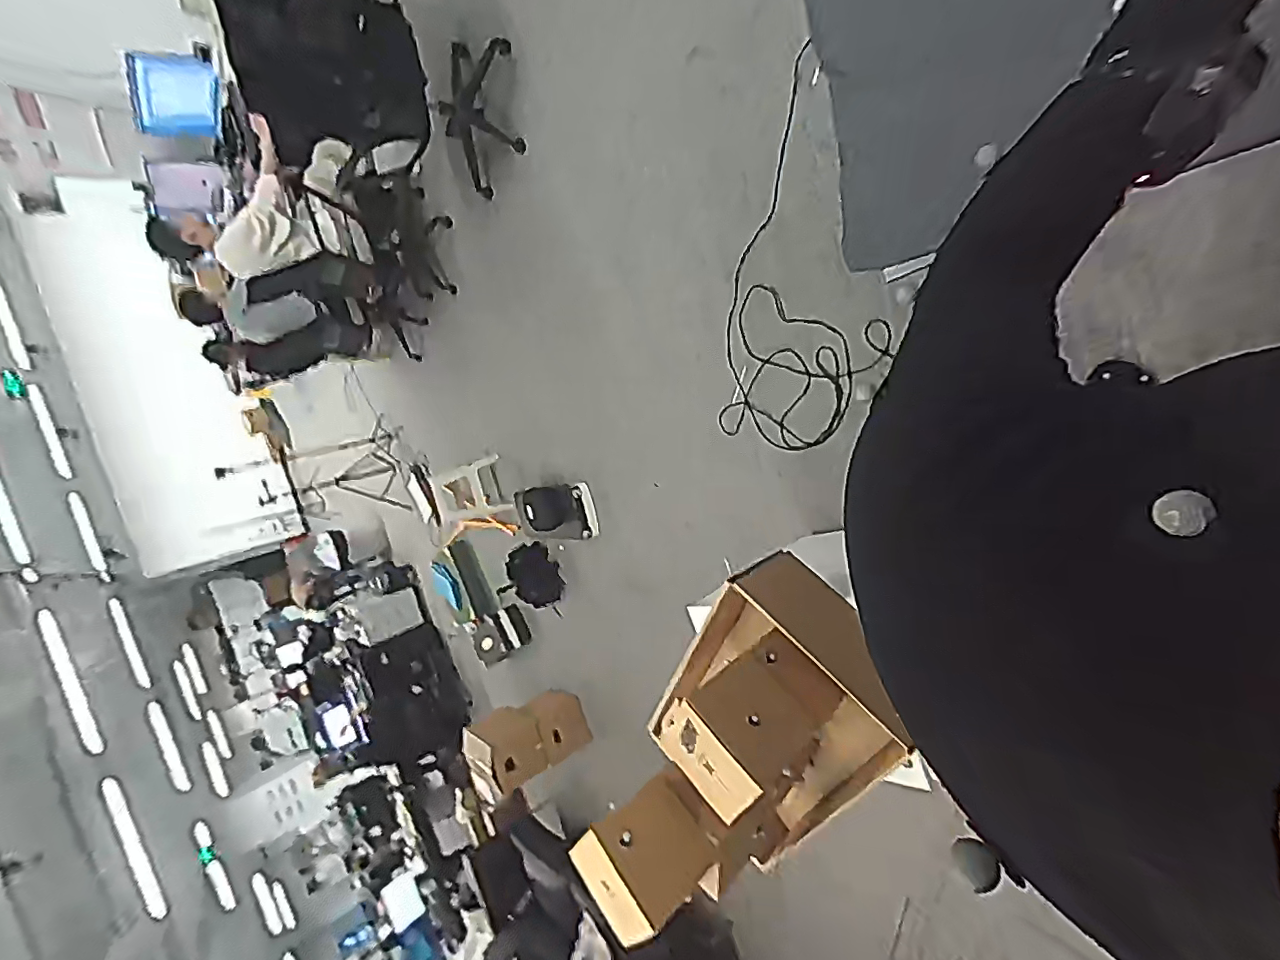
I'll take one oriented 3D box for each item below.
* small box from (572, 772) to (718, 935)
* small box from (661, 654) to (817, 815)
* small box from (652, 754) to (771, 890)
[{"bbox_3d":[0.007,0.674,0.995,0.179,0.176,0.168,47,136,24],"label":"small box"},{"bbox_3d":[0.172,0.436,0.956,0.179,0.176,0.168,44,137,26],"label":"small box"},{"bbox_3d":[0.142,0.654,1.093,0.179,0.176,0.168,17,119,42],"label":"small box"}]
